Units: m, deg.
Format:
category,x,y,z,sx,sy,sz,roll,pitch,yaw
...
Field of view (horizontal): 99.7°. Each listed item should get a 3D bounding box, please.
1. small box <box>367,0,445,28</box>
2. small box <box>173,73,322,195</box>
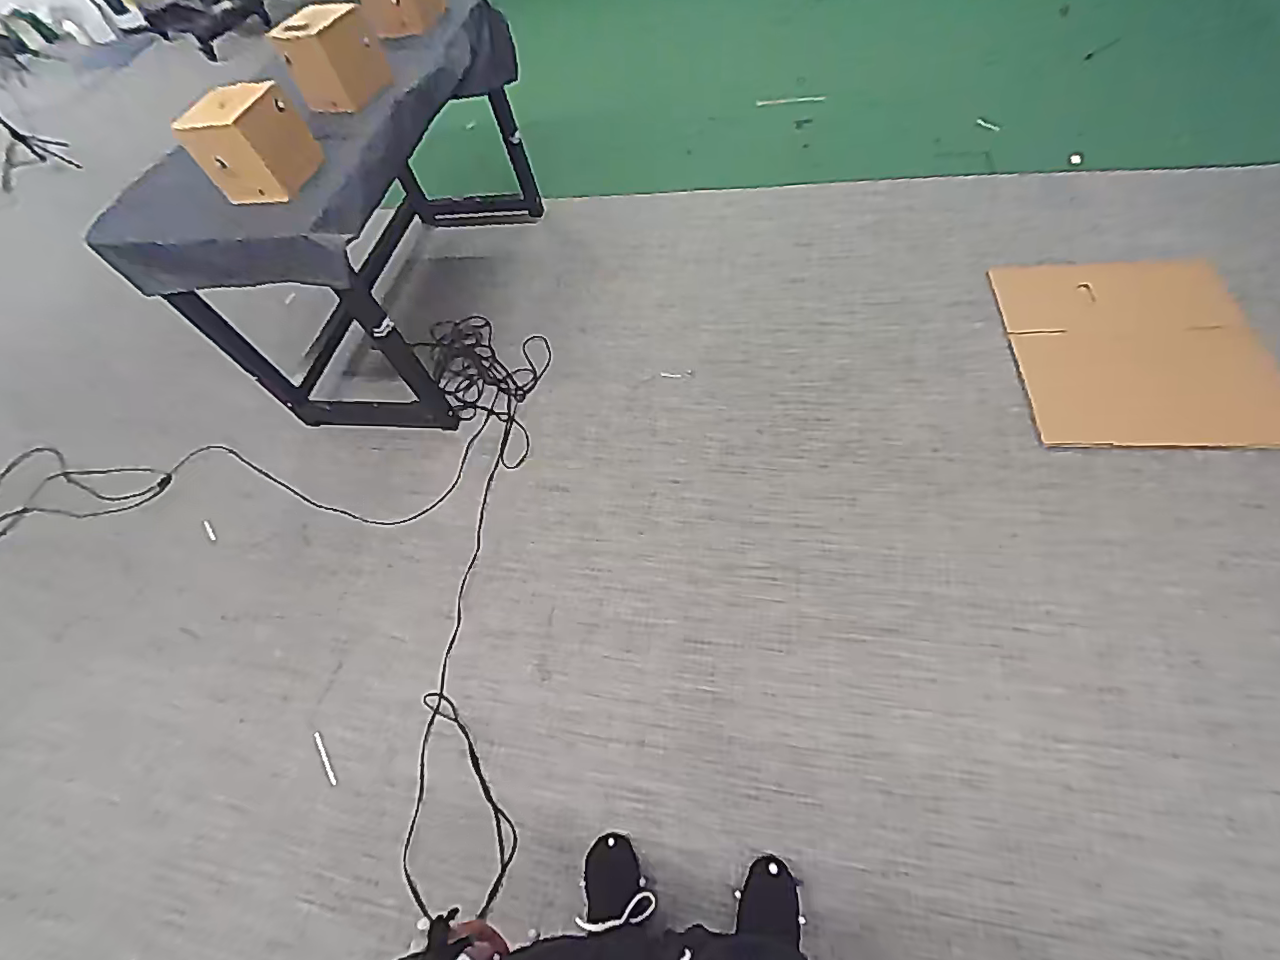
category,x,y,z,sx,sy,sz,roll,pitch,yaw
small box,-0.701,-1.455,1.579,0.168,0.176,0.179,9,61,14
small box,-0.847,-0.751,1.189,0.168,0.176,0.179,5,60,13
